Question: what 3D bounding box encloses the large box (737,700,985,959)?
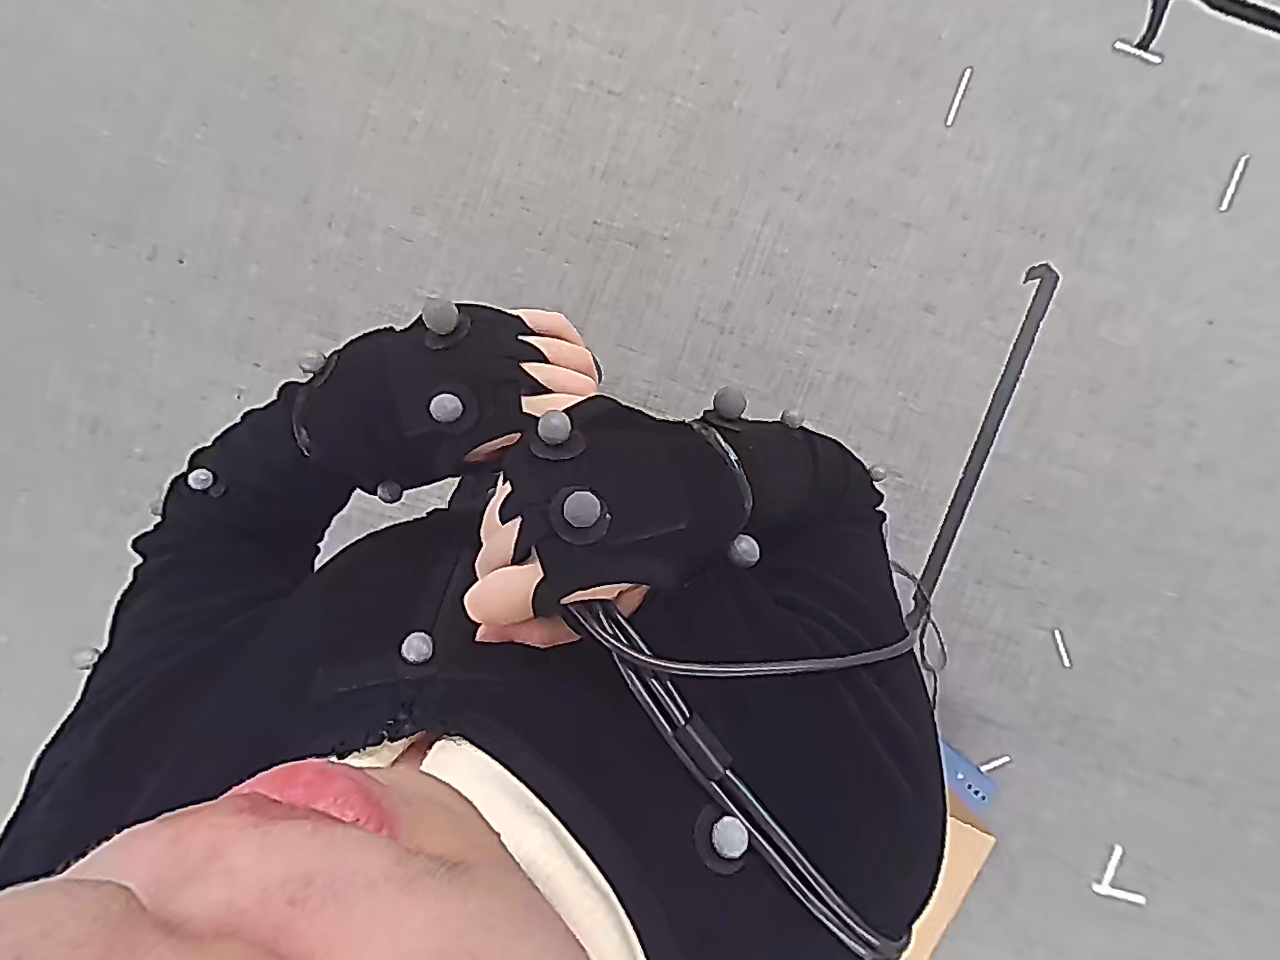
[{"bbox_3d":[0.473,0.804,1.240,0.320,0.320,0.408,27,94,-3],"label":"large box"}]
